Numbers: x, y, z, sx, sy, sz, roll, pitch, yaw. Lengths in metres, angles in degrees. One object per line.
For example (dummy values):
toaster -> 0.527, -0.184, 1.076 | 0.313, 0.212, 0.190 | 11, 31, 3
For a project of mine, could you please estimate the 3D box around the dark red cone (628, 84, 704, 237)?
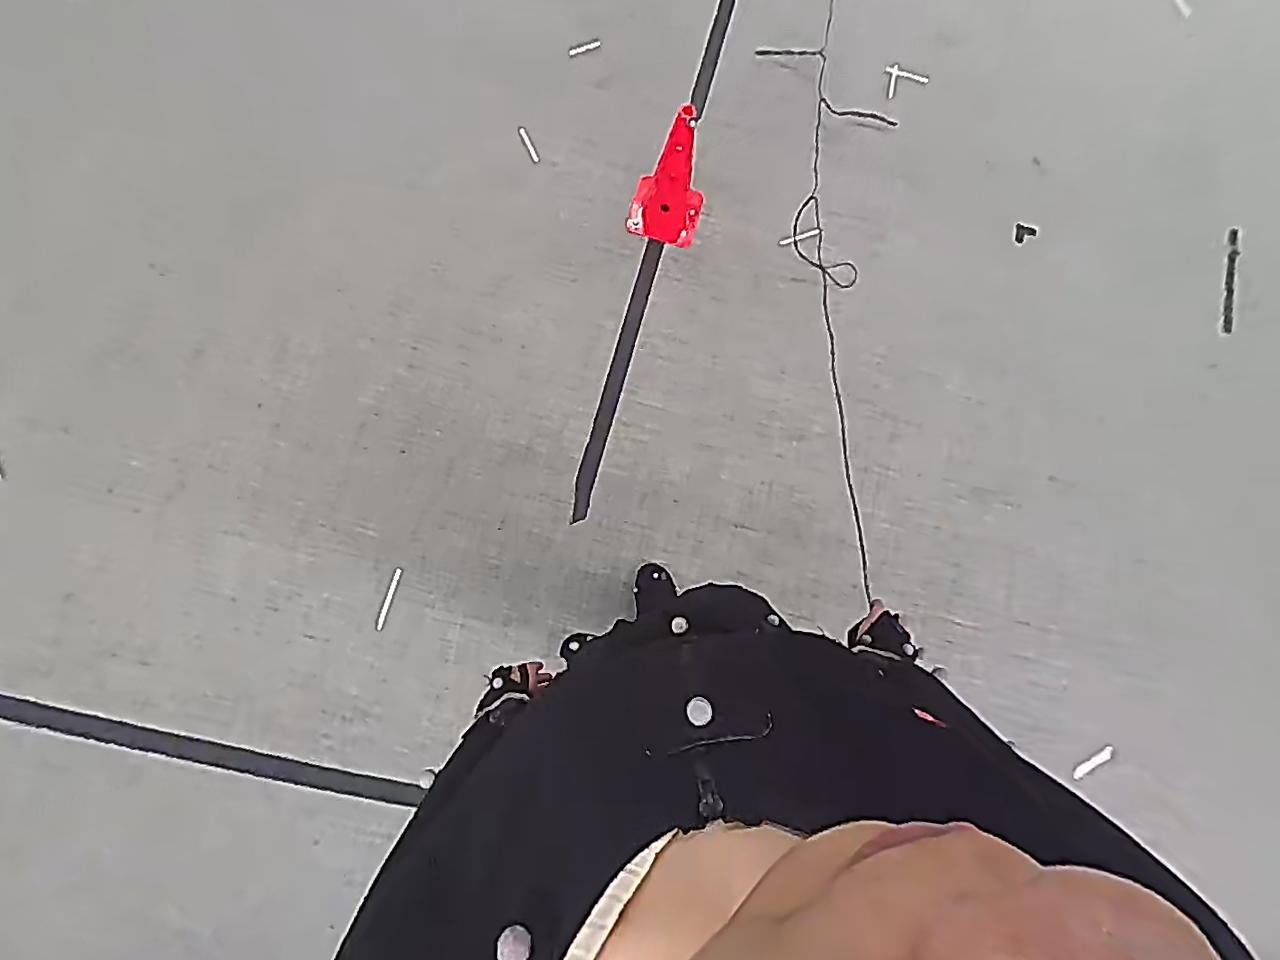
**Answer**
dark red cone -> 0.096, -0.846, 1.418 | 0.201, 0.394, 0.202 | 15, 78, -4
